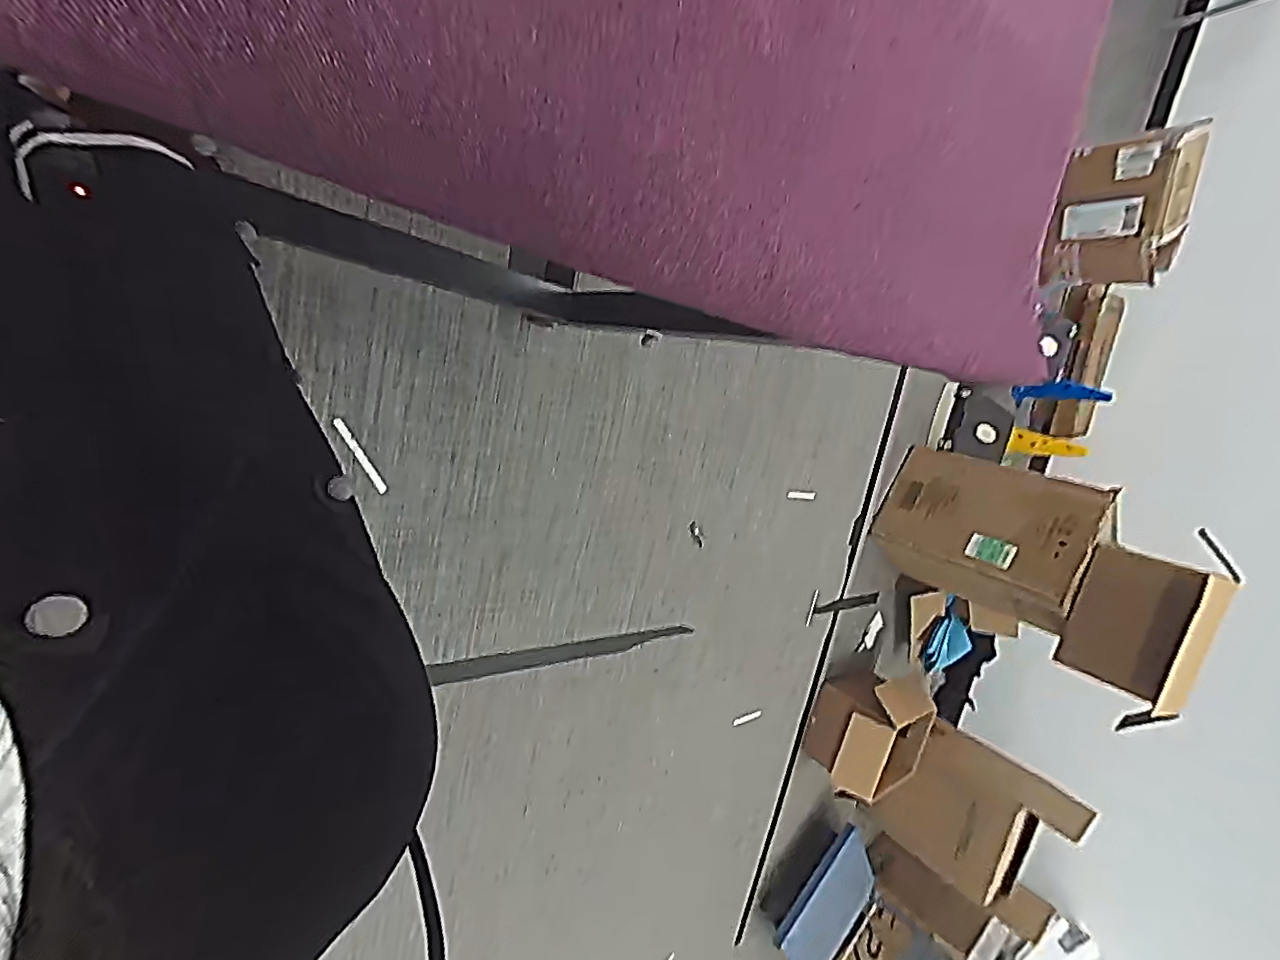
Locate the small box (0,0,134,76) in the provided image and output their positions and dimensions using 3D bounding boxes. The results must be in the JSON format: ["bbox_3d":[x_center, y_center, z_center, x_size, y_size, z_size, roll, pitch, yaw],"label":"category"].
[{"bbox_3d":[-0.492,-0.439,0.394,0.179,0.176,0.168,6,103,-43],"label":"small box"}]
